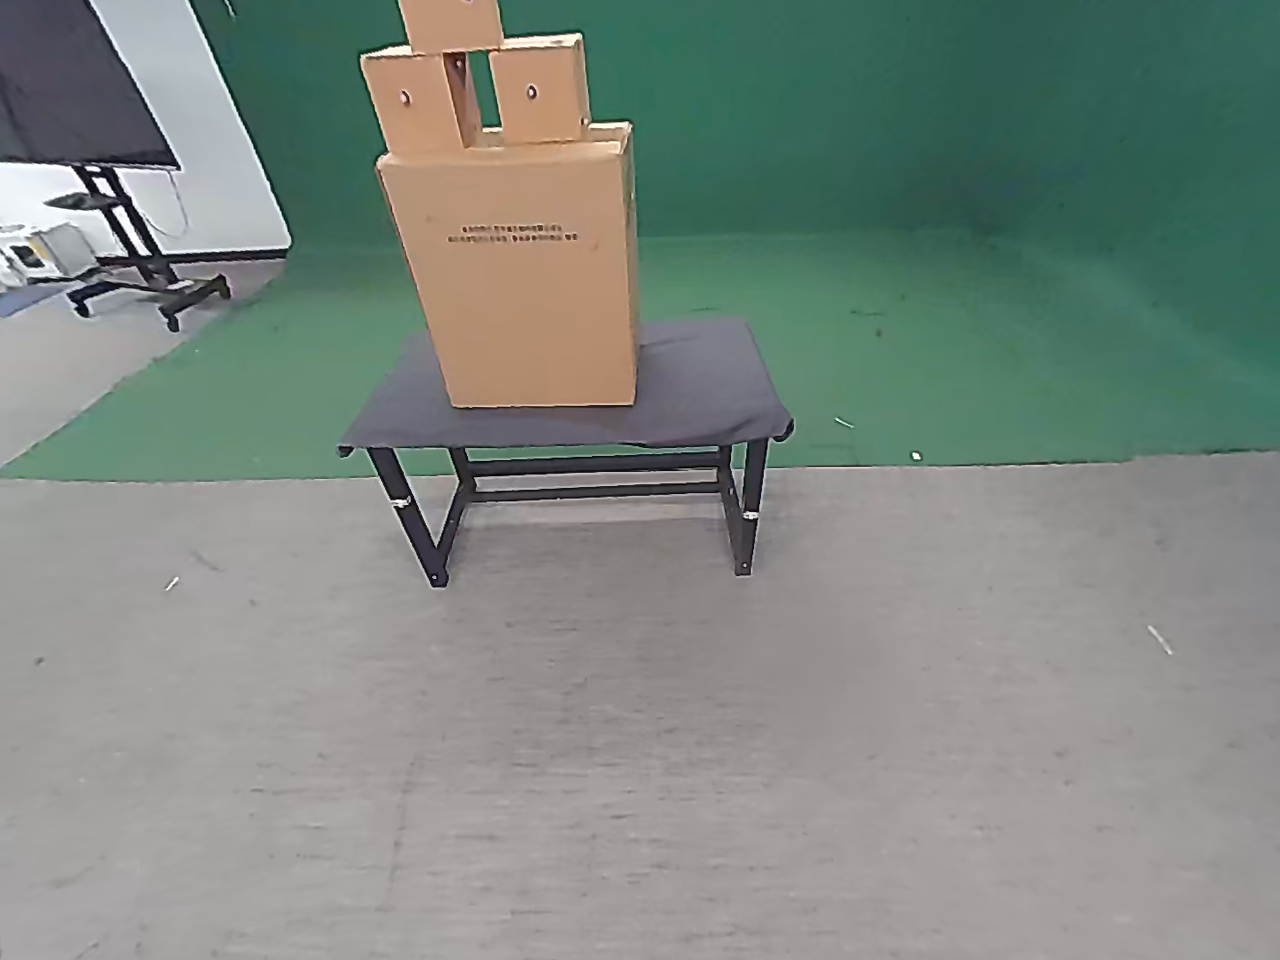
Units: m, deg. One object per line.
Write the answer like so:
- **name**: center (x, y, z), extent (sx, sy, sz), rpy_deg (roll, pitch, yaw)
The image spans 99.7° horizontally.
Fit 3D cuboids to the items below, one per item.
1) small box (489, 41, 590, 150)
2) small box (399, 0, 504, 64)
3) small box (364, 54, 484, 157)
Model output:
- **small box**: center (-0.213, -0.856, 1.206), extent (0.179, 0.176, 0.168), rpy_deg (0, 45, 5)
- **small box**: center (-0.380, -0.959, 1.092), extent (0.179, 0.176, 0.168), rpy_deg (-8, 43, -3)
- **small box**: center (-0.471, -0.836, 1.207), extent (0.179, 0.176, 0.168), rpy_deg (1, 45, 4)
